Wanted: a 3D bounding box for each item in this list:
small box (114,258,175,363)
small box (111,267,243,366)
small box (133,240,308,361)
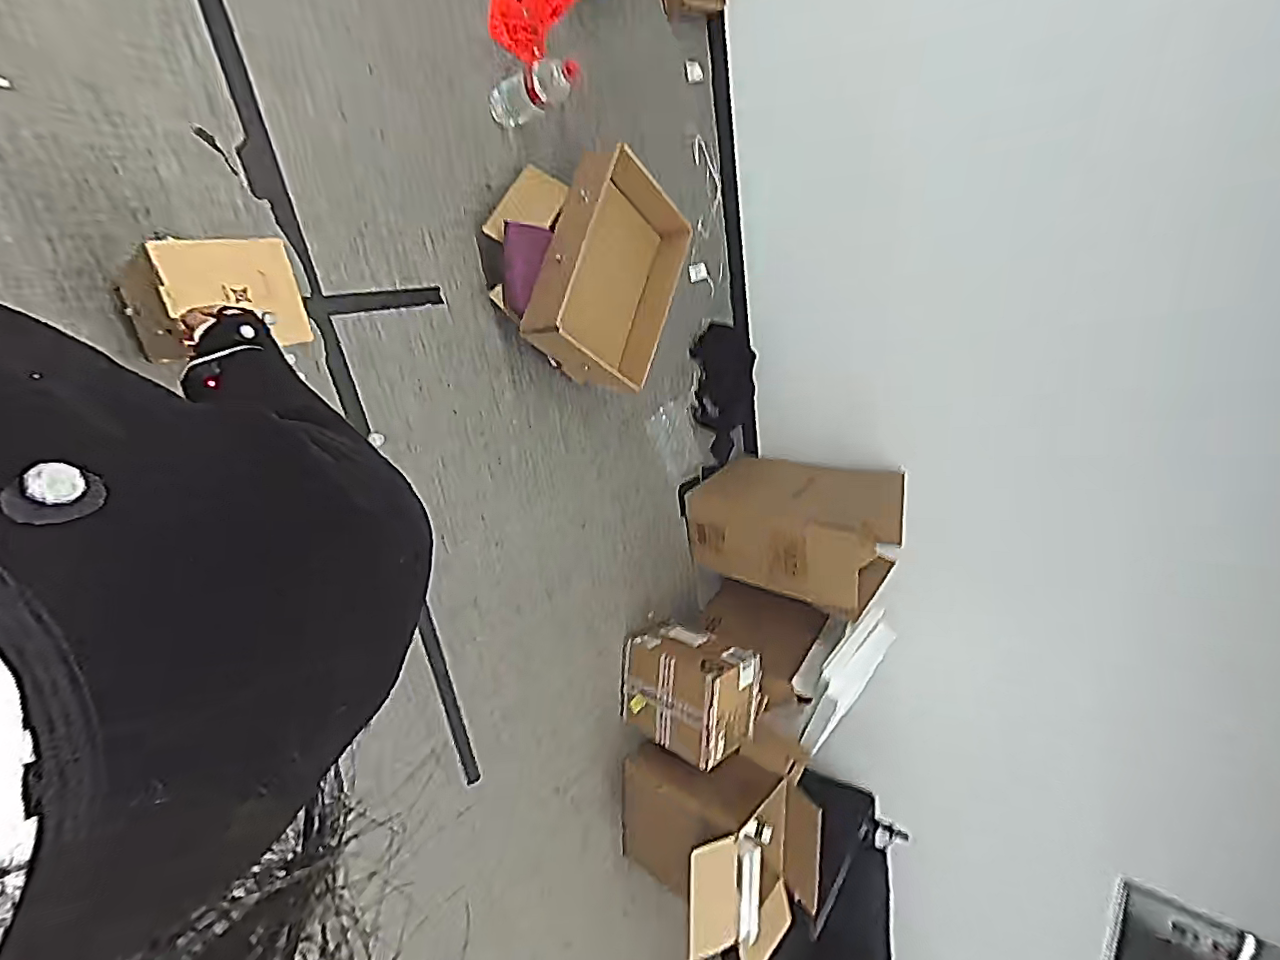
[{"bbox_3d":[-0.814,-0.311,0.992,0.179,0.176,0.168,-26,115,-43],"label":"small box"},{"bbox_3d":[-0.934,-0.334,1.102,0.168,0.176,0.179,-26,116,-43],"label":"small box"},{"bbox_3d":[-0.691,-0.292,0.888,0.179,0.176,0.168,-28,118,-44],"label":"small box"}]
